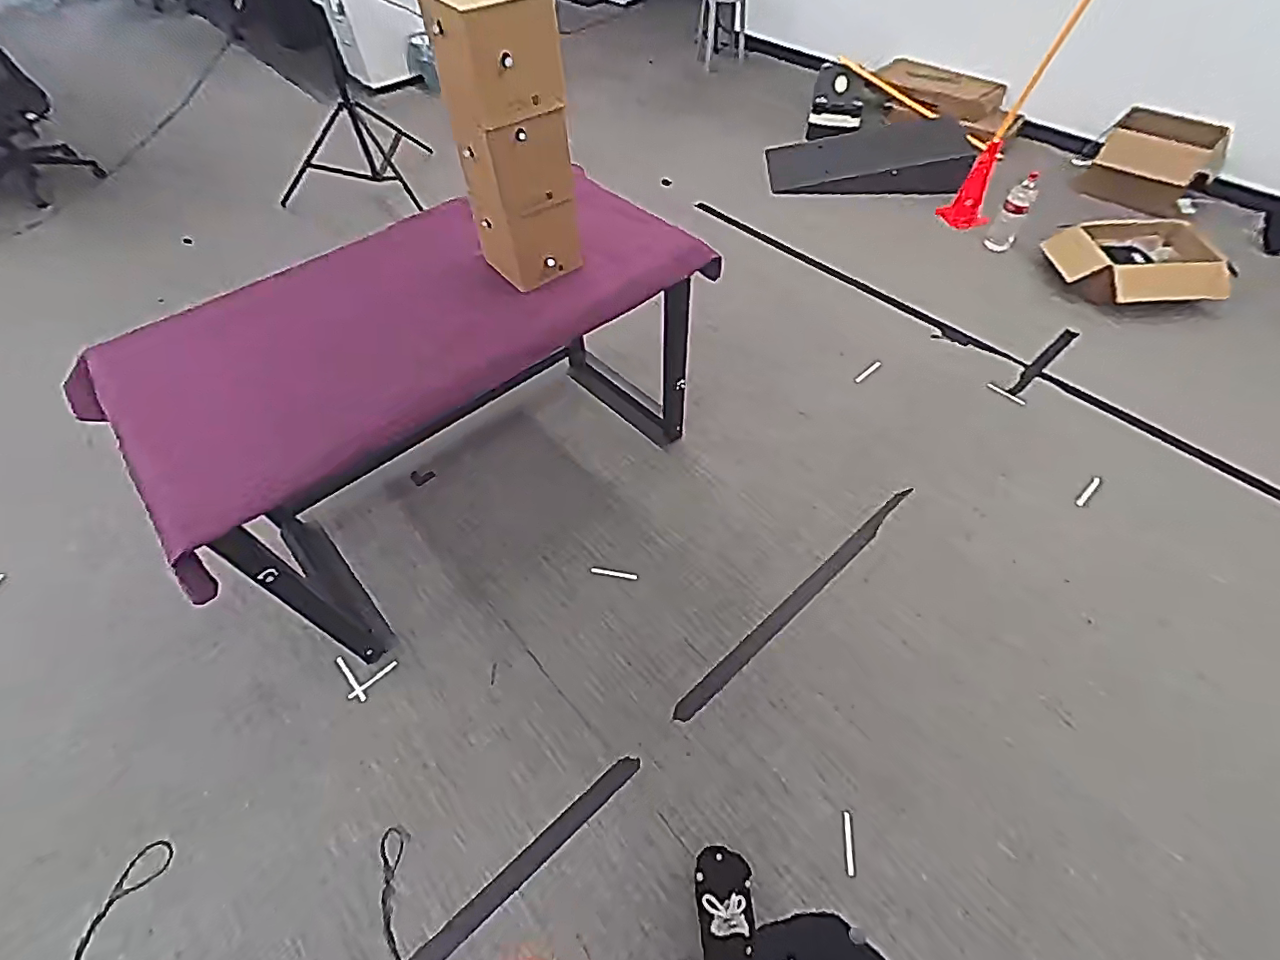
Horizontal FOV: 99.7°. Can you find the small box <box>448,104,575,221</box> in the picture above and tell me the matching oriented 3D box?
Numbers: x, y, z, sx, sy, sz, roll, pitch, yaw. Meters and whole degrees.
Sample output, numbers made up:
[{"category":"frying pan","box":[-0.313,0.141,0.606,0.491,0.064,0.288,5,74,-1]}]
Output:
[{"category":"small box","box":[-0.249,-0.647,1.074,0.168,0.176,0.179,-32,59,-19]}]

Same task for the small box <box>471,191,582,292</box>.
[{"category":"small box","box":[-0.248,-0.555,1.210,0.168,0.176,0.179,-34,61,-20]}]

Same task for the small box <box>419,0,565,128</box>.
[{"category":"small box","box":[-0.248,-0.739,0.939,0.168,0.176,0.179,-33,59,-19]}]
